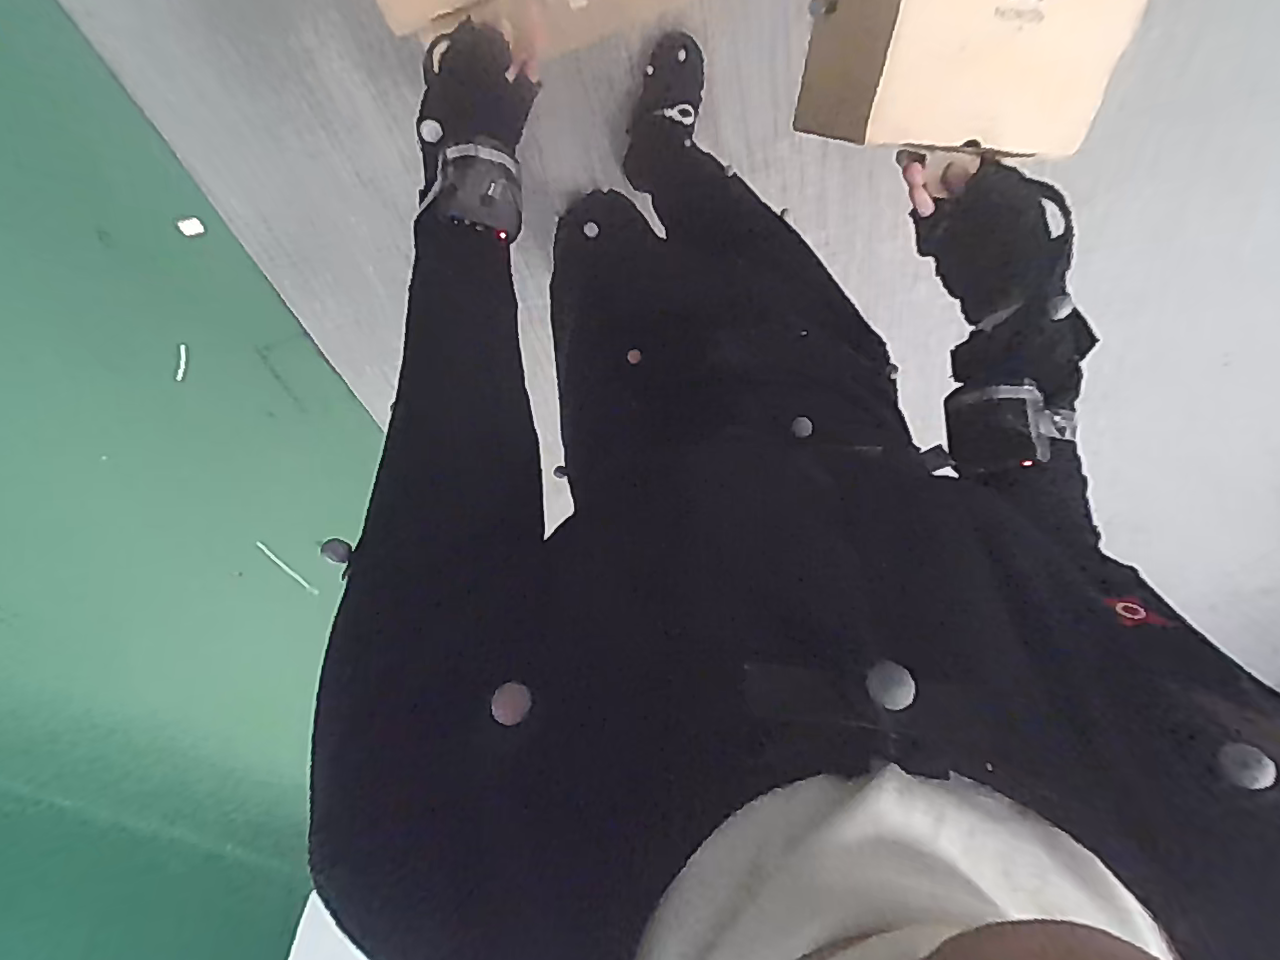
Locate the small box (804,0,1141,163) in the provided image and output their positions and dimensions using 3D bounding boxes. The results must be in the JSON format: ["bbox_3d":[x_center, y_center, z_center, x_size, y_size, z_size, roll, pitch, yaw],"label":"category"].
[{"bbox_3d":[0.241,-0.360,0.415,0.168,0.176,0.179,1,126,-6],"label":"small box"}]

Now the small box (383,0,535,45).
[{"bbox_3d":[-0.138,-0.481,0.424,0.168,0.176,0.179,-14,131,8],"label":"small box"}]
